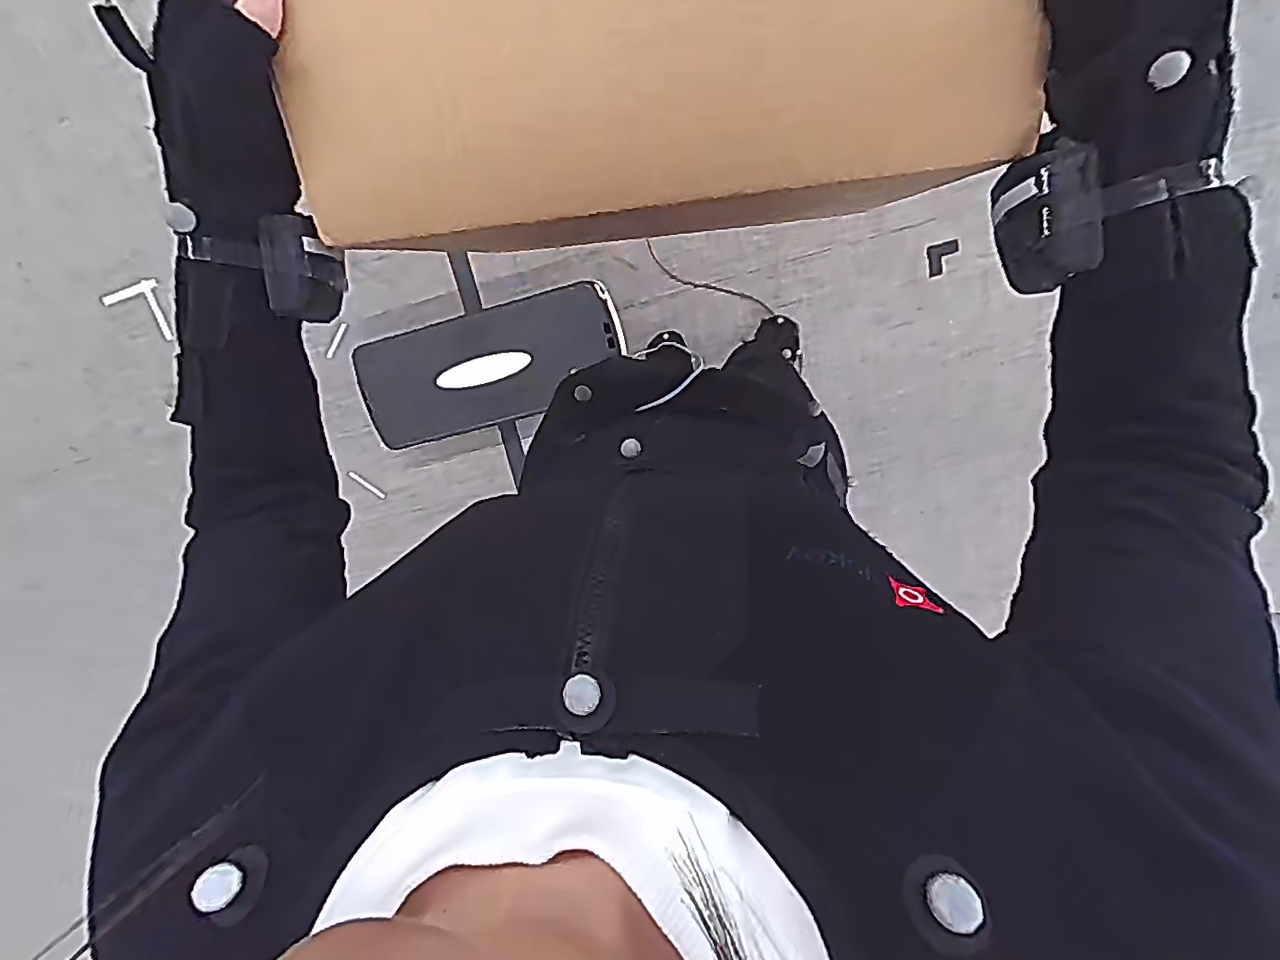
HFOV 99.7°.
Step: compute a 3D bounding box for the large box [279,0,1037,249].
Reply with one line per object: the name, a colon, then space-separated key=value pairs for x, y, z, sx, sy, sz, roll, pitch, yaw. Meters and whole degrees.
large box: x=0.006 y=-0.366 z=0.401 sx=0.408 sy=0.320 sz=0.320 roll=-4 pitch=112 yaw=8
